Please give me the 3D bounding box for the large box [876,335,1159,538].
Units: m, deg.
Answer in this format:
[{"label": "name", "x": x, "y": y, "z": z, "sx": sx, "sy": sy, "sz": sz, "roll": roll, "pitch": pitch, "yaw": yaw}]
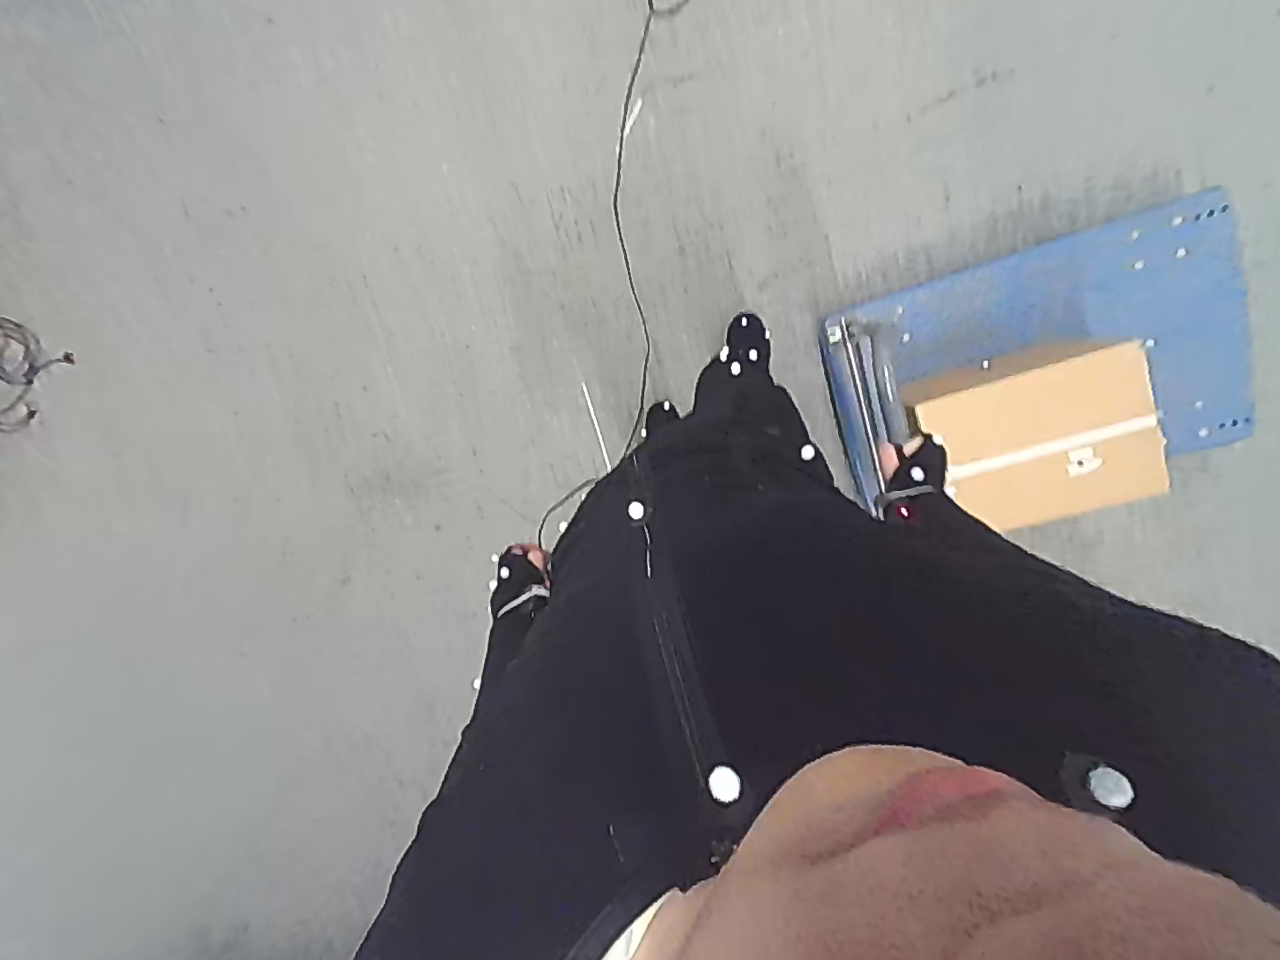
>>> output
[{"label": "large box", "x": 0.808, "y": -0.106, "z": 1.220, "sx": 0.408, "sy": 0.320, "sz": 0.320, "roll": -17, "pitch": 101, "yaw": 14}]
